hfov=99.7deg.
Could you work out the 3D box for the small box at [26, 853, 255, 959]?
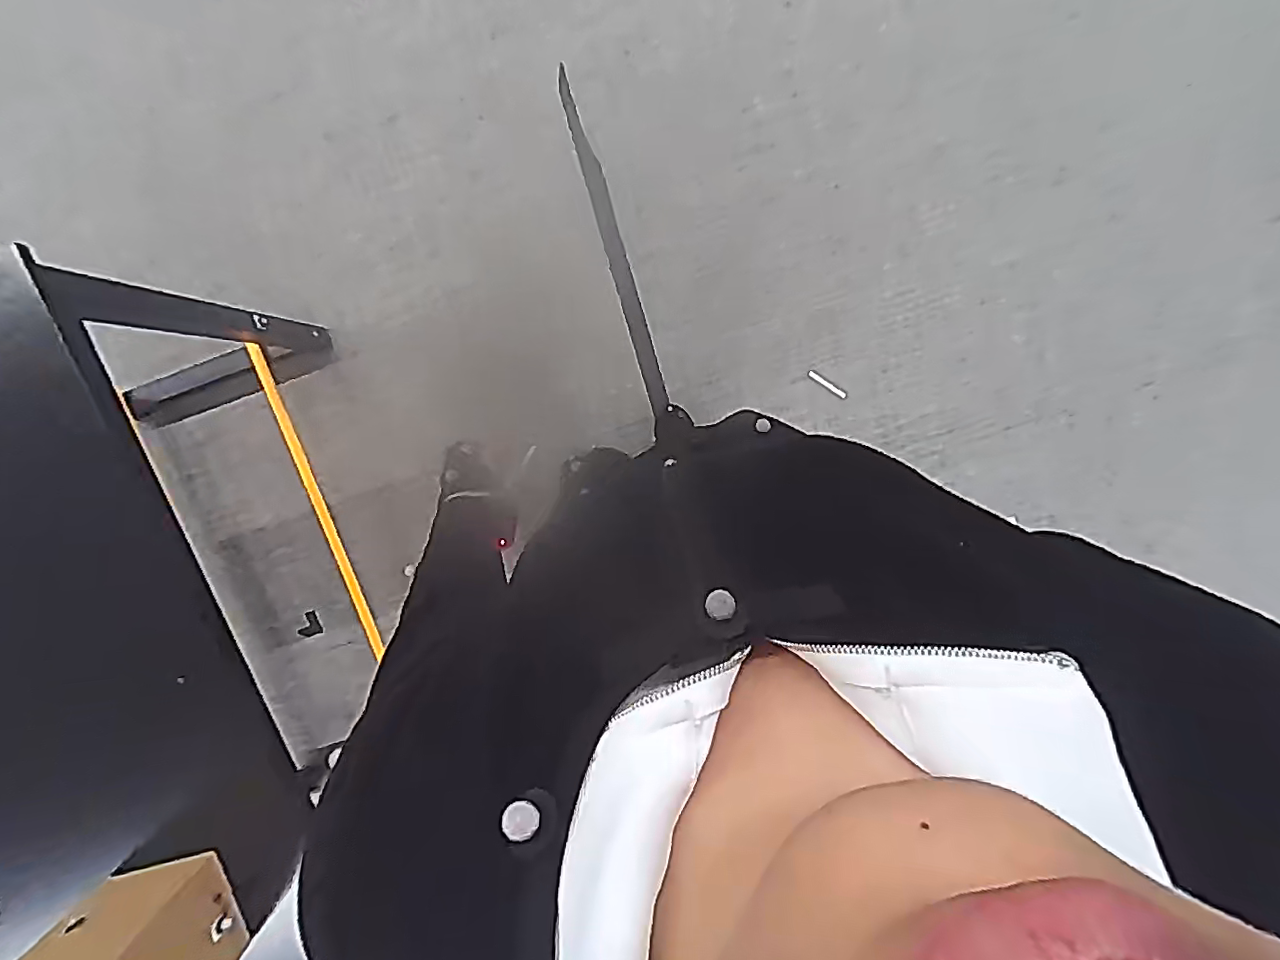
[{"bbox_3d":[-0.696,0.671,0.753,0.179,0.176,0.168,-15,99,1],"label":"small box"}]
